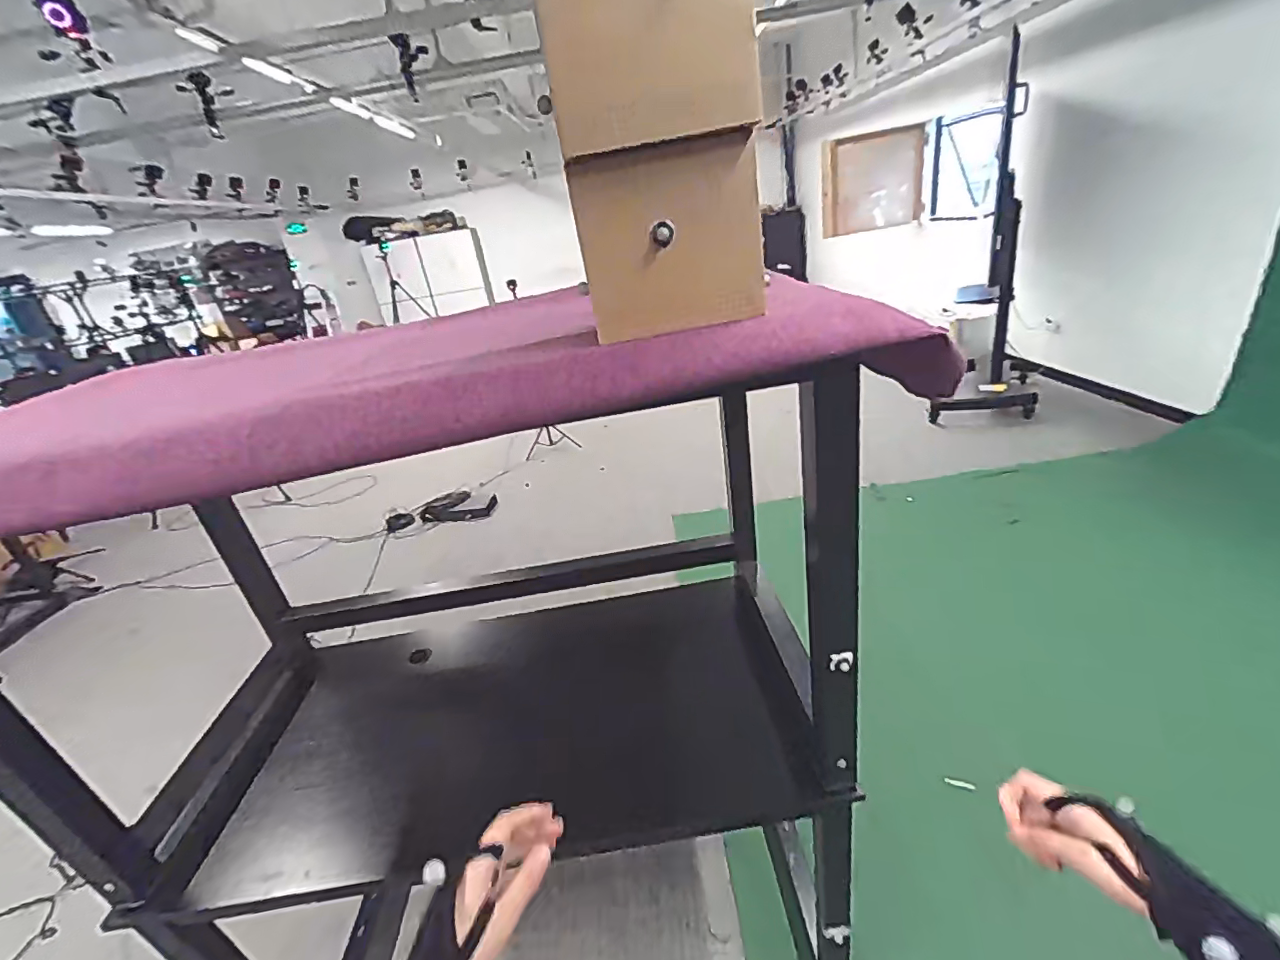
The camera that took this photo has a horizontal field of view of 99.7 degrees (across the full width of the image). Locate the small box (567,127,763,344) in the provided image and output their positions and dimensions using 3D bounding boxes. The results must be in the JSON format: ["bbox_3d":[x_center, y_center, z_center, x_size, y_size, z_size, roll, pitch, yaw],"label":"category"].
[{"bbox_3d":[0.031,-0.259,0.586,0.179,0.176,0.168,-11,25,2],"label":"small box"}]

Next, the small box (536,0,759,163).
[{"bbox_3d":[0.006,-0.397,0.498,0.179,0.176,0.168,-11,25,2],"label":"small box"}]
